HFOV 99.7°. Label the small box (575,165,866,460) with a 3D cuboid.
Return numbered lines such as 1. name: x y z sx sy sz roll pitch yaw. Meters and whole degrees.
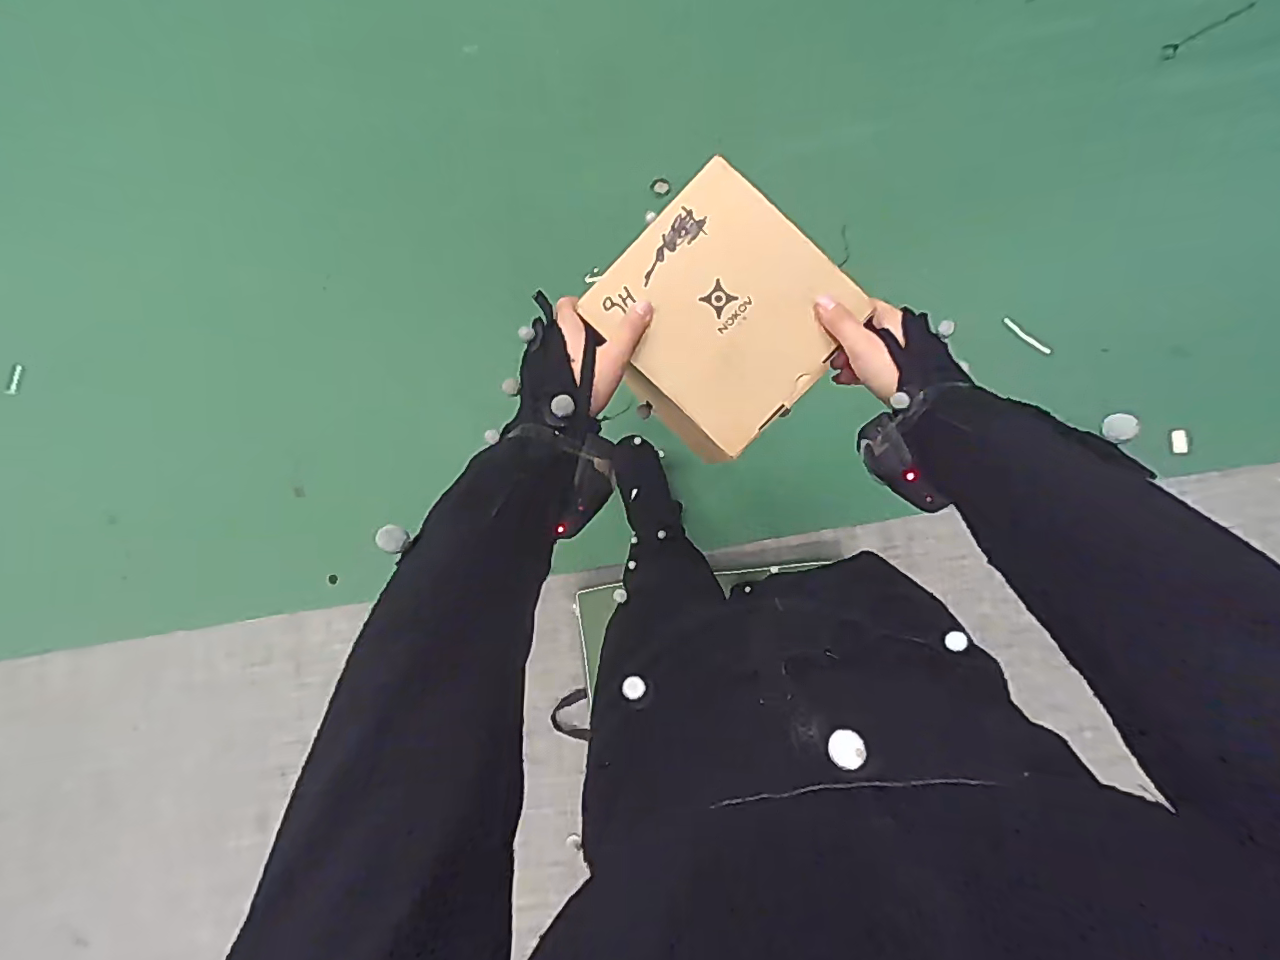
1. small box: 0.064 -0.136 0.508 0.179 0.176 0.168 44 89 -1
